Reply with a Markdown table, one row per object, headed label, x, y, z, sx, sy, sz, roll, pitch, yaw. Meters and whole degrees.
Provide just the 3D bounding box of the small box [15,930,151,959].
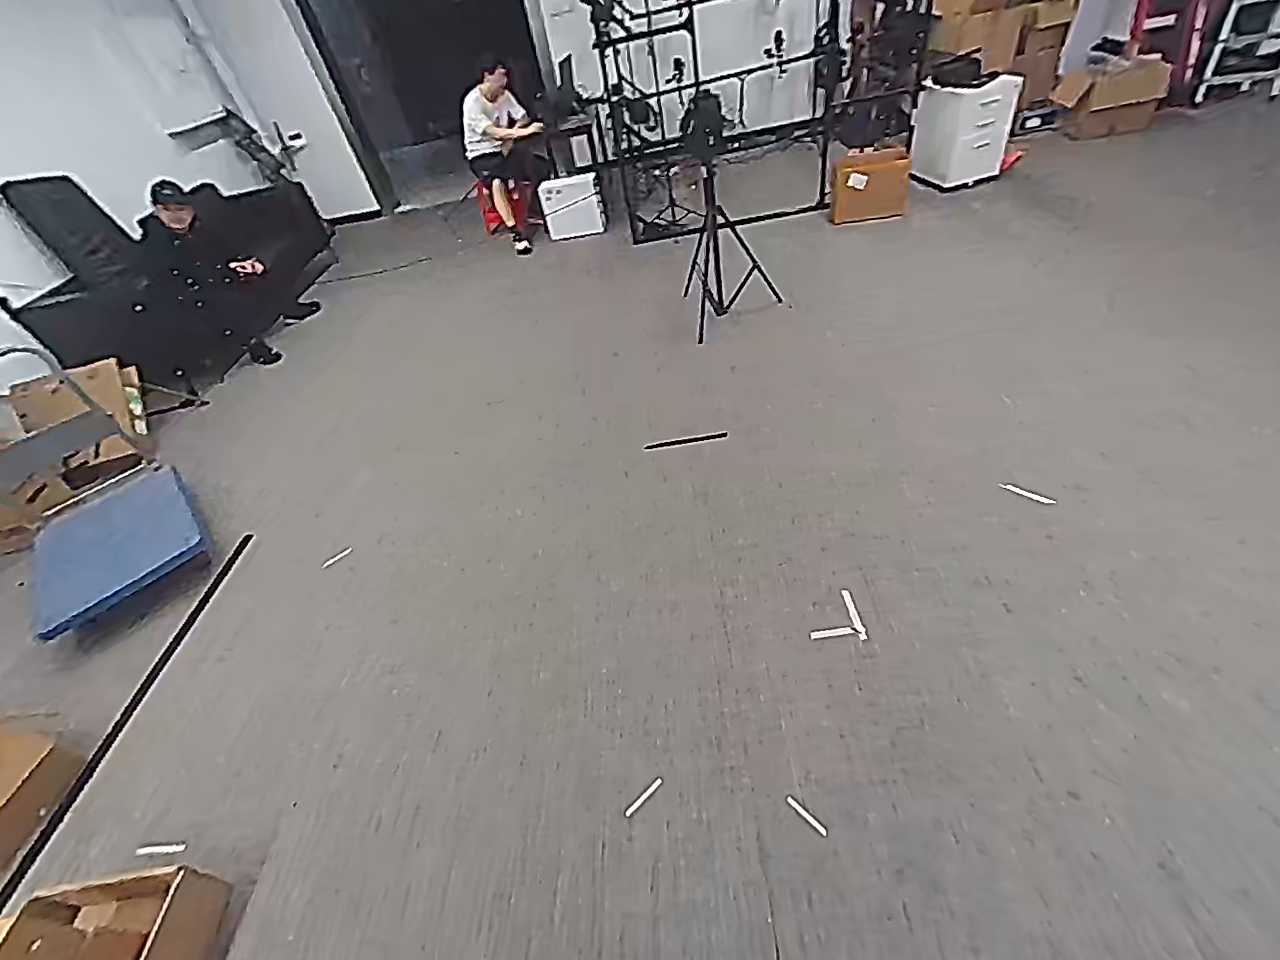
| label | x | y | z | sx | sy | sz | roll | pitch | yaw |
| --- | --- | --- | --- | --- | --- | --- | --- | --- | --- |
| small box | -1.252 | 1.114 | 1.183 | 0.179 | 0.176 | 0.168 | -11 | 43 | 3 |
